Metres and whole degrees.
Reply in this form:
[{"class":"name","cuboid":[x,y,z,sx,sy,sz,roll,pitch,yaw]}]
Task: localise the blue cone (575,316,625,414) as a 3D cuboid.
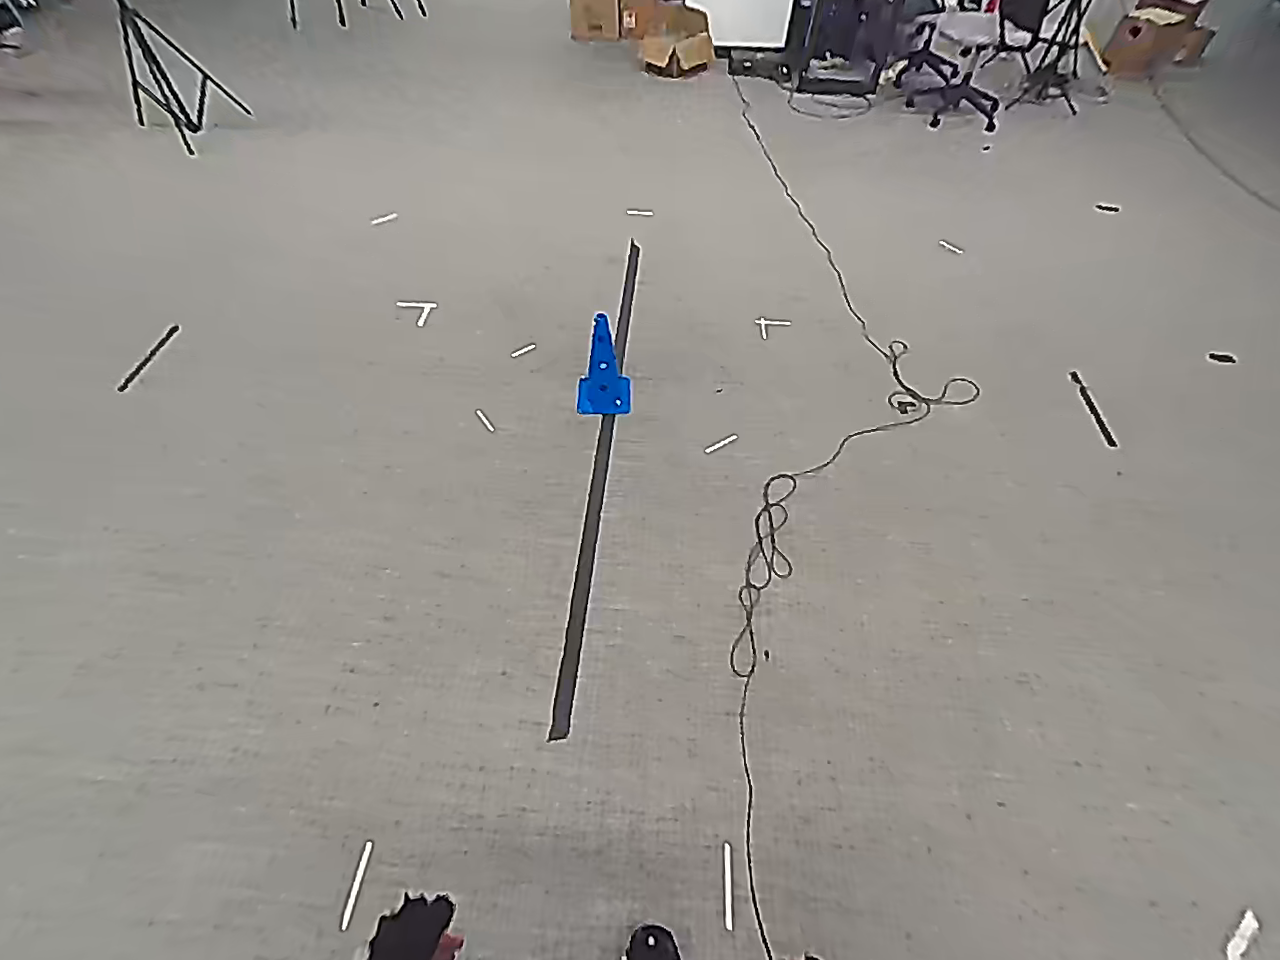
[{"class":"blue cone","cuboid":[-0.149,-0.420,1.932,0.192,0.380,0.193,1,52,0]}]
